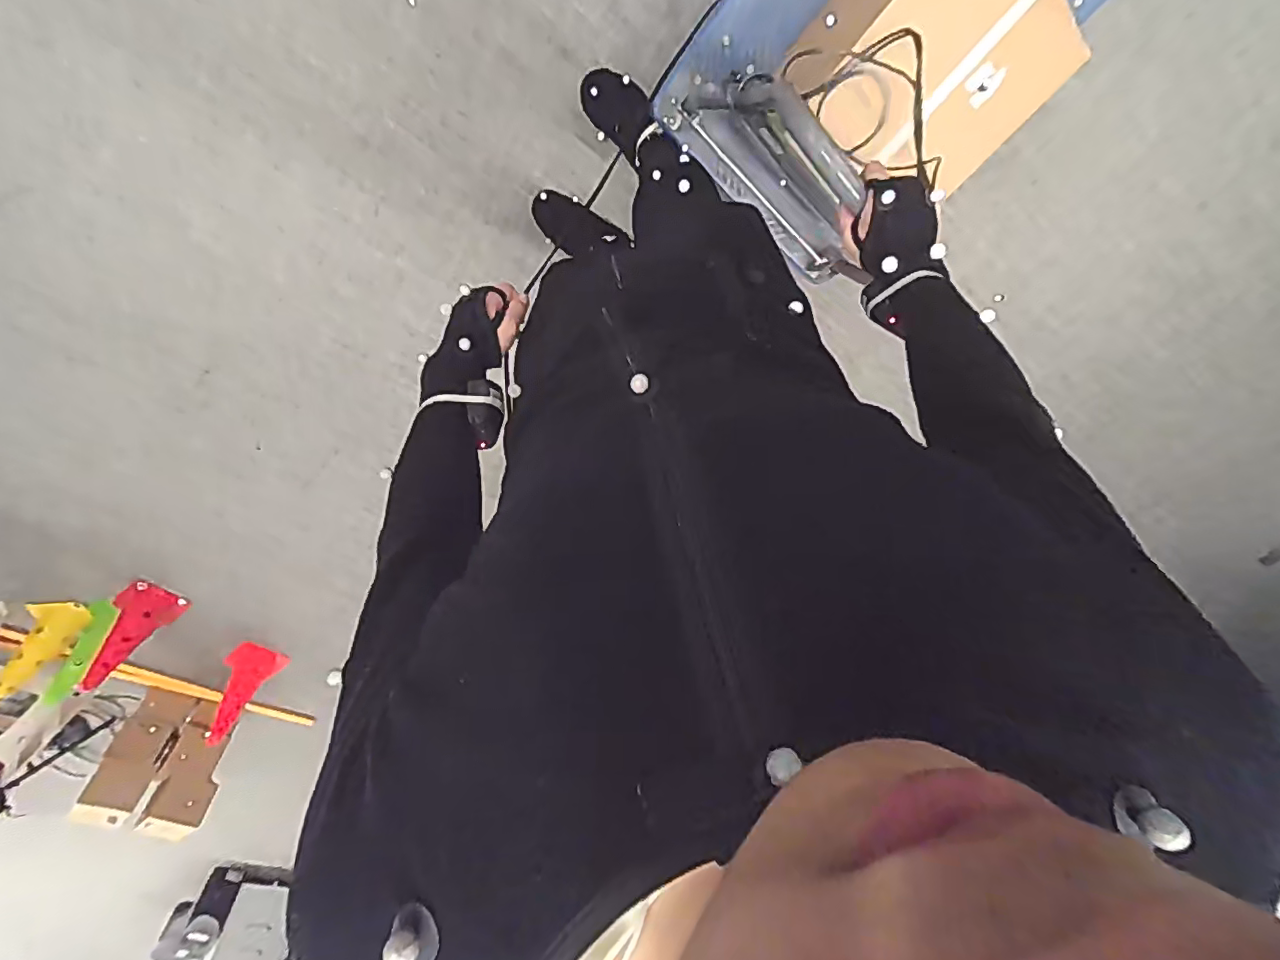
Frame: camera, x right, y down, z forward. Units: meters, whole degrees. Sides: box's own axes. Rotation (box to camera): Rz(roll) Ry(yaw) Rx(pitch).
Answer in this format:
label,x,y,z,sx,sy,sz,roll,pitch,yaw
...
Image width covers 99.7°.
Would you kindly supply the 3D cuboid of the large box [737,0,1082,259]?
label,x,y,z,sx,sy,sz,roll,pitch,yaw
large box,0.449,-0.699,0.991,0.320,0.320,0.408,31,117,-27
